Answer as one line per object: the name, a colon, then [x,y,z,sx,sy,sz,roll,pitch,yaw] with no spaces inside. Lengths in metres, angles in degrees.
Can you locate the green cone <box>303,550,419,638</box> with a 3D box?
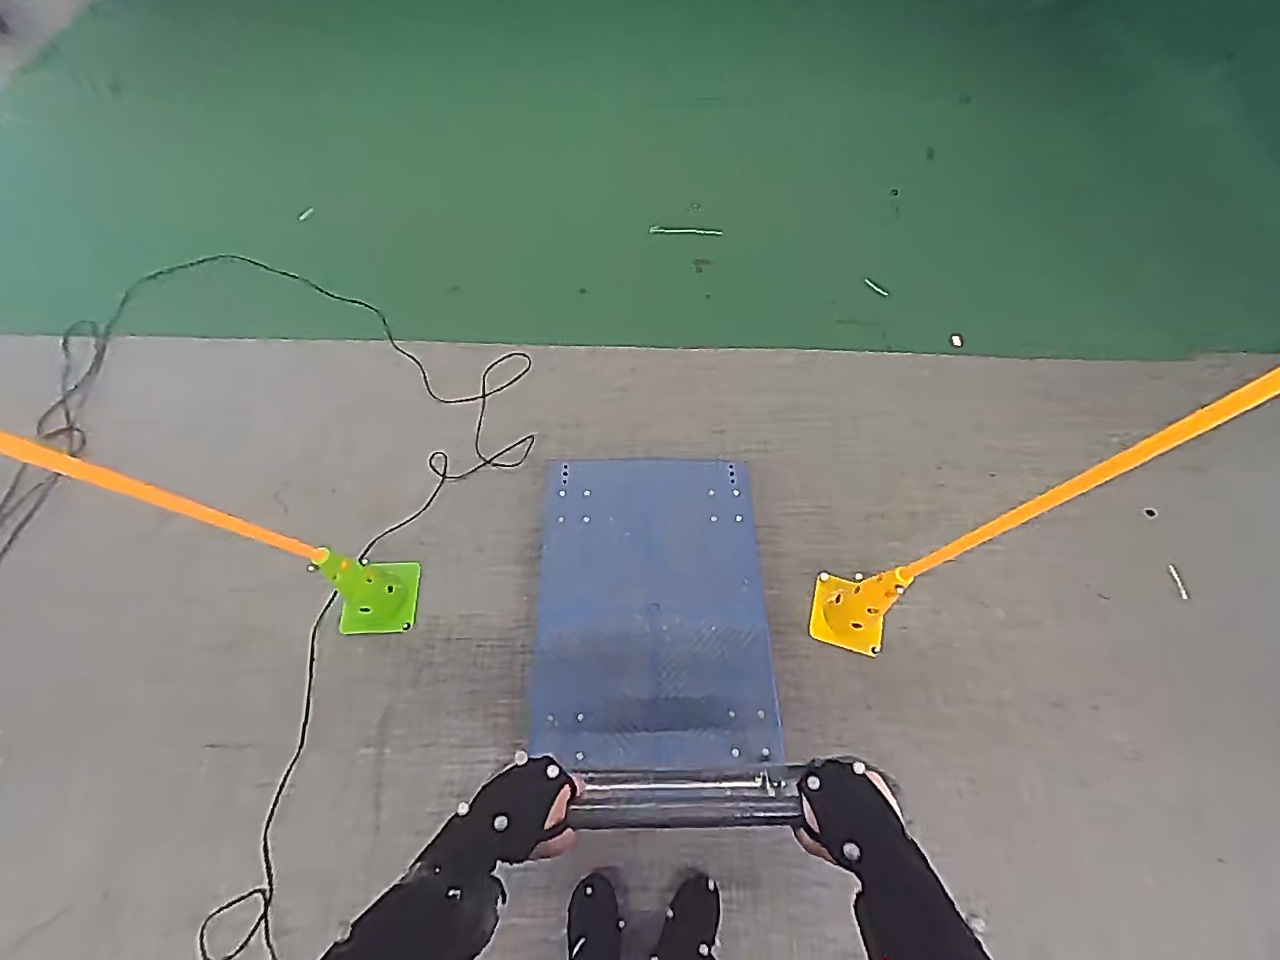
green cone: [-0.731,0.256,1.369,0.202,0.368,0.200,-3,62,-2]
